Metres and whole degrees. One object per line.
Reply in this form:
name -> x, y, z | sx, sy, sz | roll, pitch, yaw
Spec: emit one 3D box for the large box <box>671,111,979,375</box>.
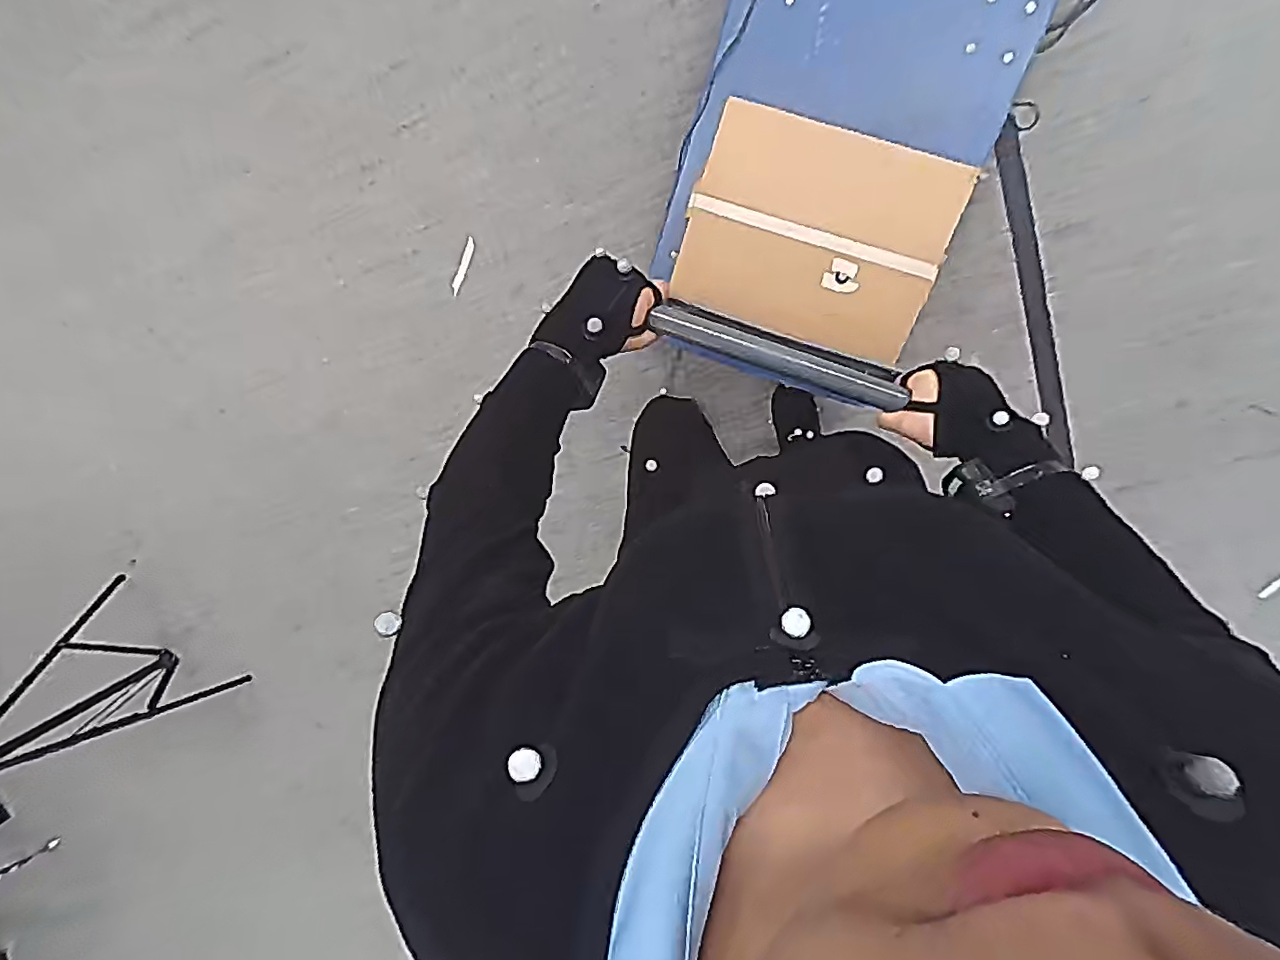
large box -> 0.303, -0.410, 1.008 | 0.408, 0.320, 0.320 | 20, 108, 4
